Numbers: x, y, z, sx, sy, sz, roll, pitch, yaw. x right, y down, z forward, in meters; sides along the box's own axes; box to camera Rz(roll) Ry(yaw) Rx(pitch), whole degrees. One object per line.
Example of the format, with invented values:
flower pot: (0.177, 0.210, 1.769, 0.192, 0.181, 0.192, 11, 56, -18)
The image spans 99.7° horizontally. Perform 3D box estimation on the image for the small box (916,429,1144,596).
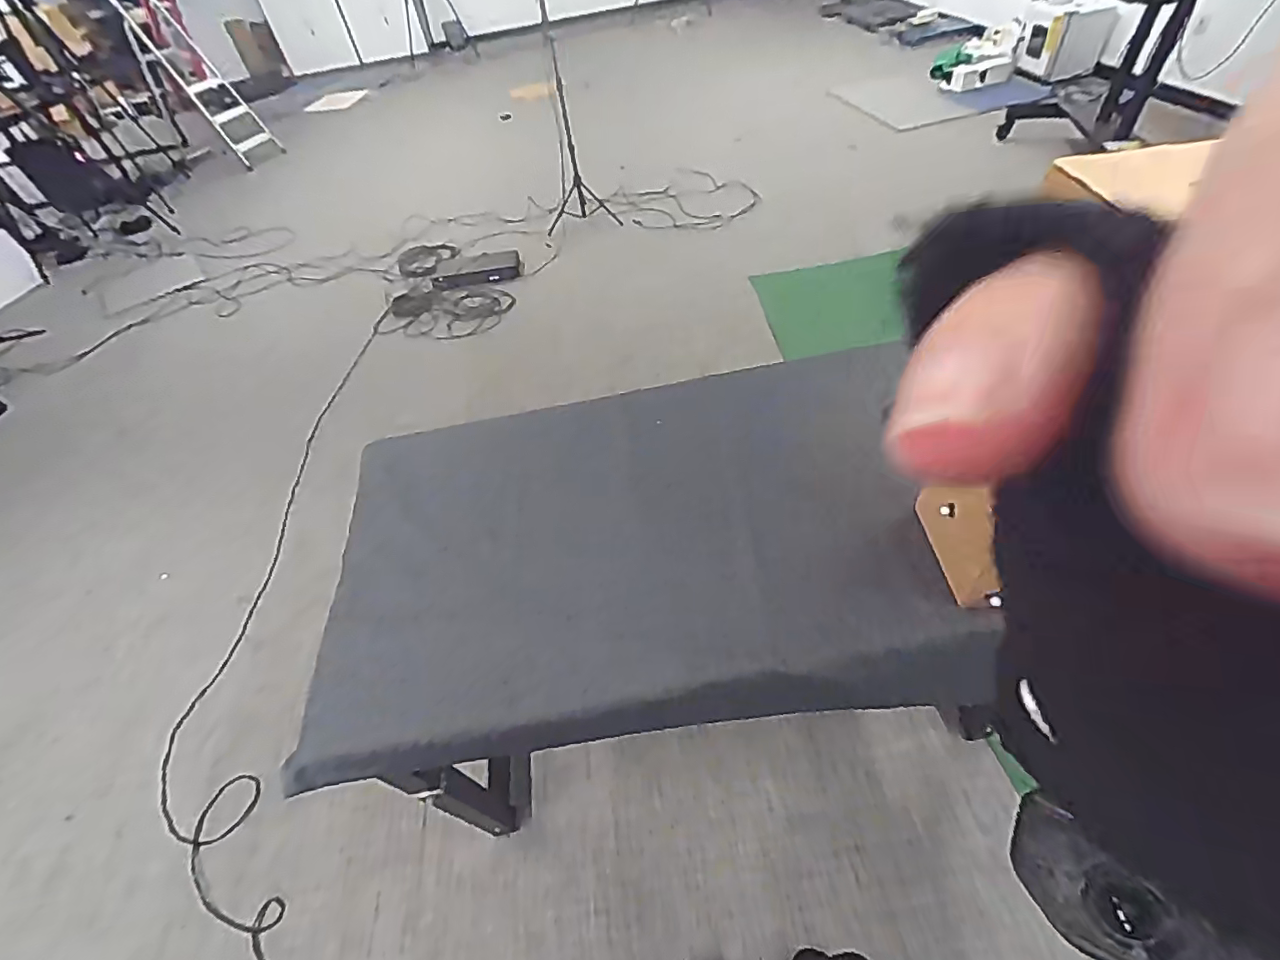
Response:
small box: (0.496, 0.042, 0.720, 0.168, 0.176, 0.179, -5, 48, 5)

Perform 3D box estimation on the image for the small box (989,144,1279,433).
small box: (0.446, -0.164, 0.473, 0.168, 0.176, 0.179, -6, 48, 6)
